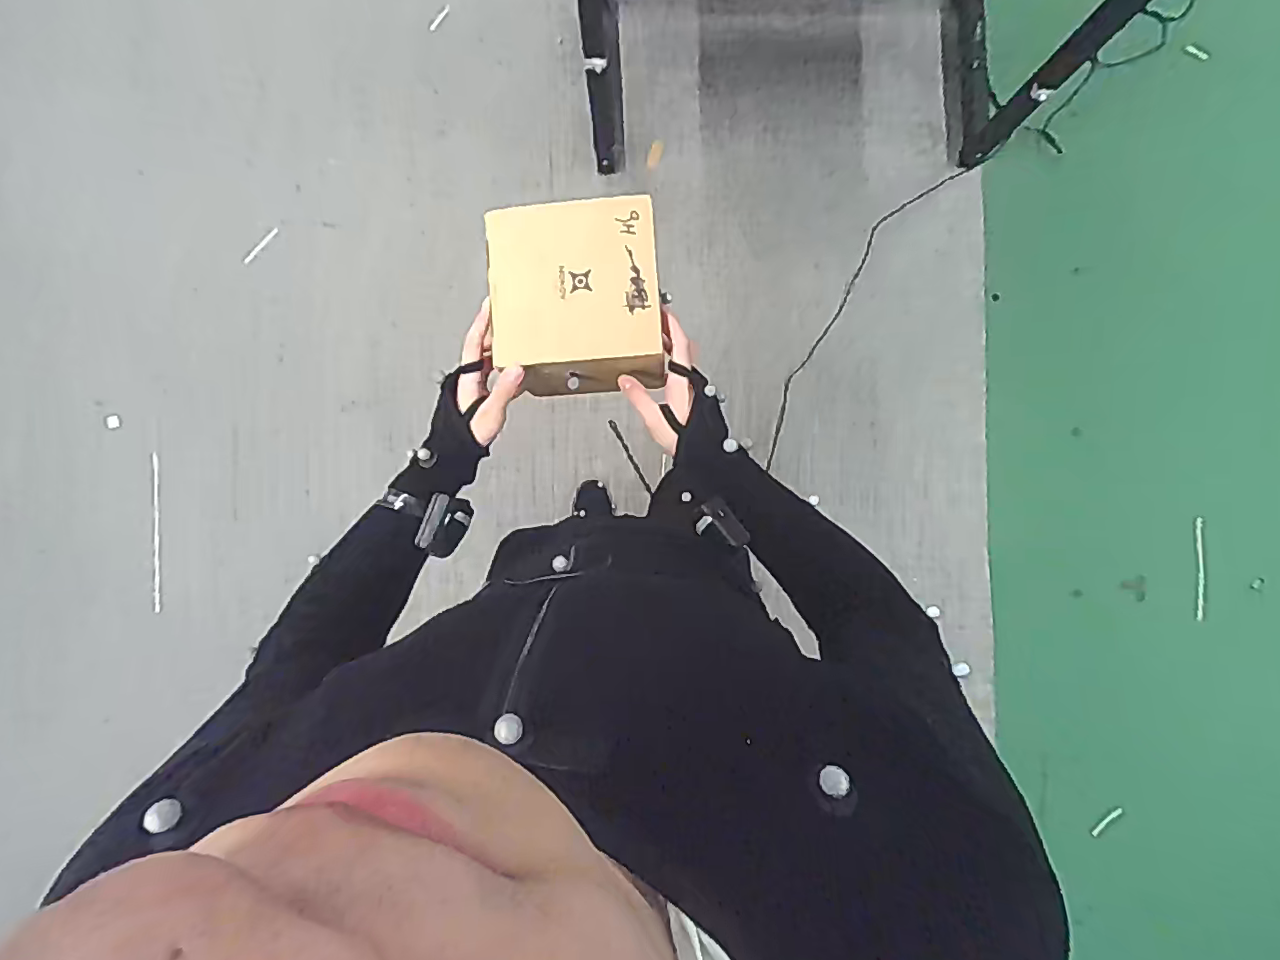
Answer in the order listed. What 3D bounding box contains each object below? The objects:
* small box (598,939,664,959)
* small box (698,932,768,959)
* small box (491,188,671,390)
[{"bbox_3d":[-0.022,1.306,1.363,0.179,0.176,0.168,-3,88,1],"label":"small box"},{"bbox_3d":[0.238,1.290,1.365,0.179,0.176,0.168,1,89,-2],"label":"small box"},{"bbox_3d":[-0.057,-0.203,0.622,0.179,0.176,0.168,-3,88,4],"label":"small box"}]
